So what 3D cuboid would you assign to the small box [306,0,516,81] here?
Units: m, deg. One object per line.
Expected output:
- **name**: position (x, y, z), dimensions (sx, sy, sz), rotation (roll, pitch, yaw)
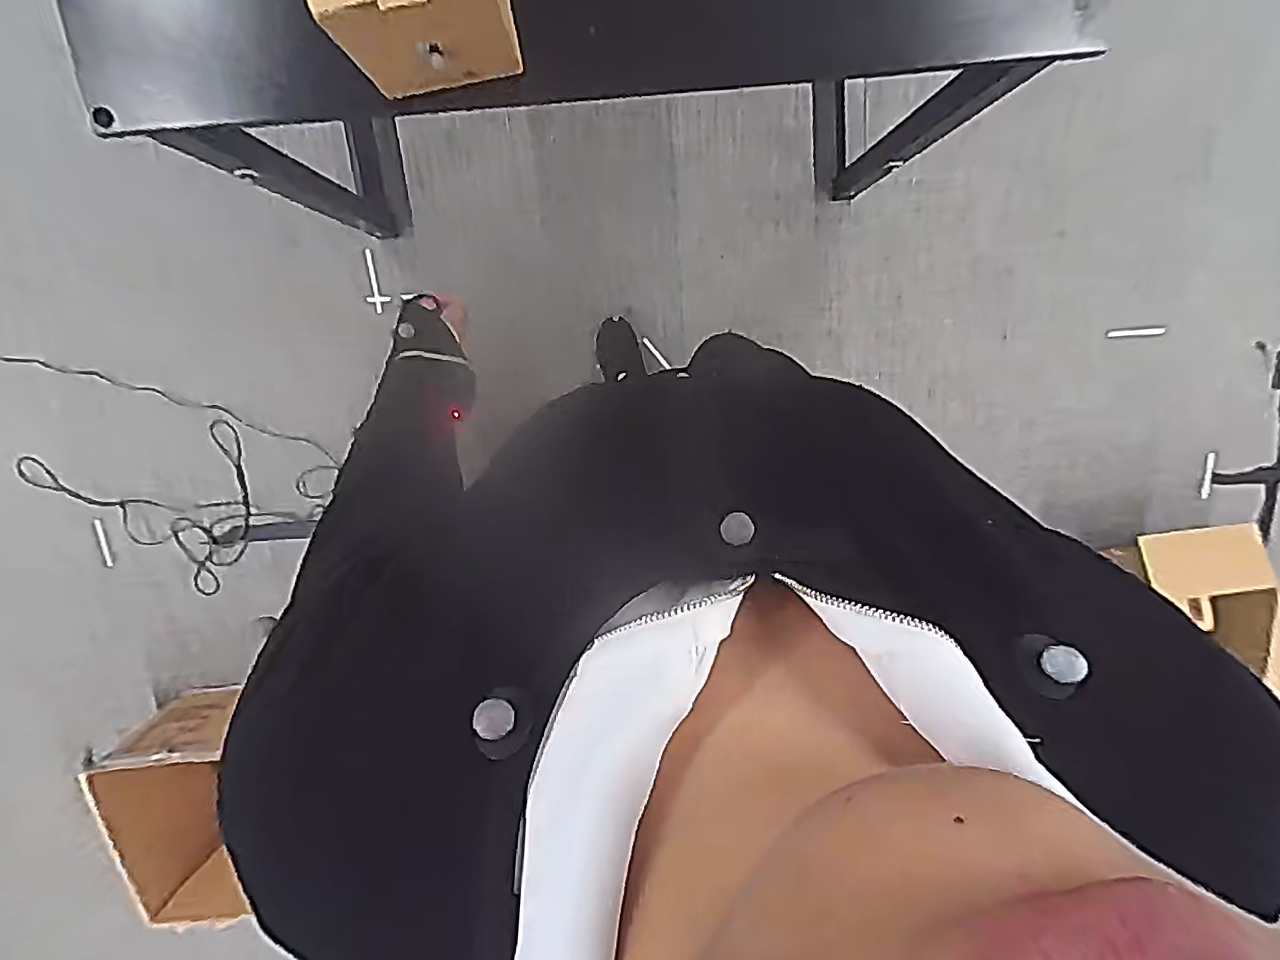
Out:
- **small box**: position (-0.233, -0.534, 0.537), dimensions (0.168, 0.176, 0.179), rotation (-11, 104, 1)
